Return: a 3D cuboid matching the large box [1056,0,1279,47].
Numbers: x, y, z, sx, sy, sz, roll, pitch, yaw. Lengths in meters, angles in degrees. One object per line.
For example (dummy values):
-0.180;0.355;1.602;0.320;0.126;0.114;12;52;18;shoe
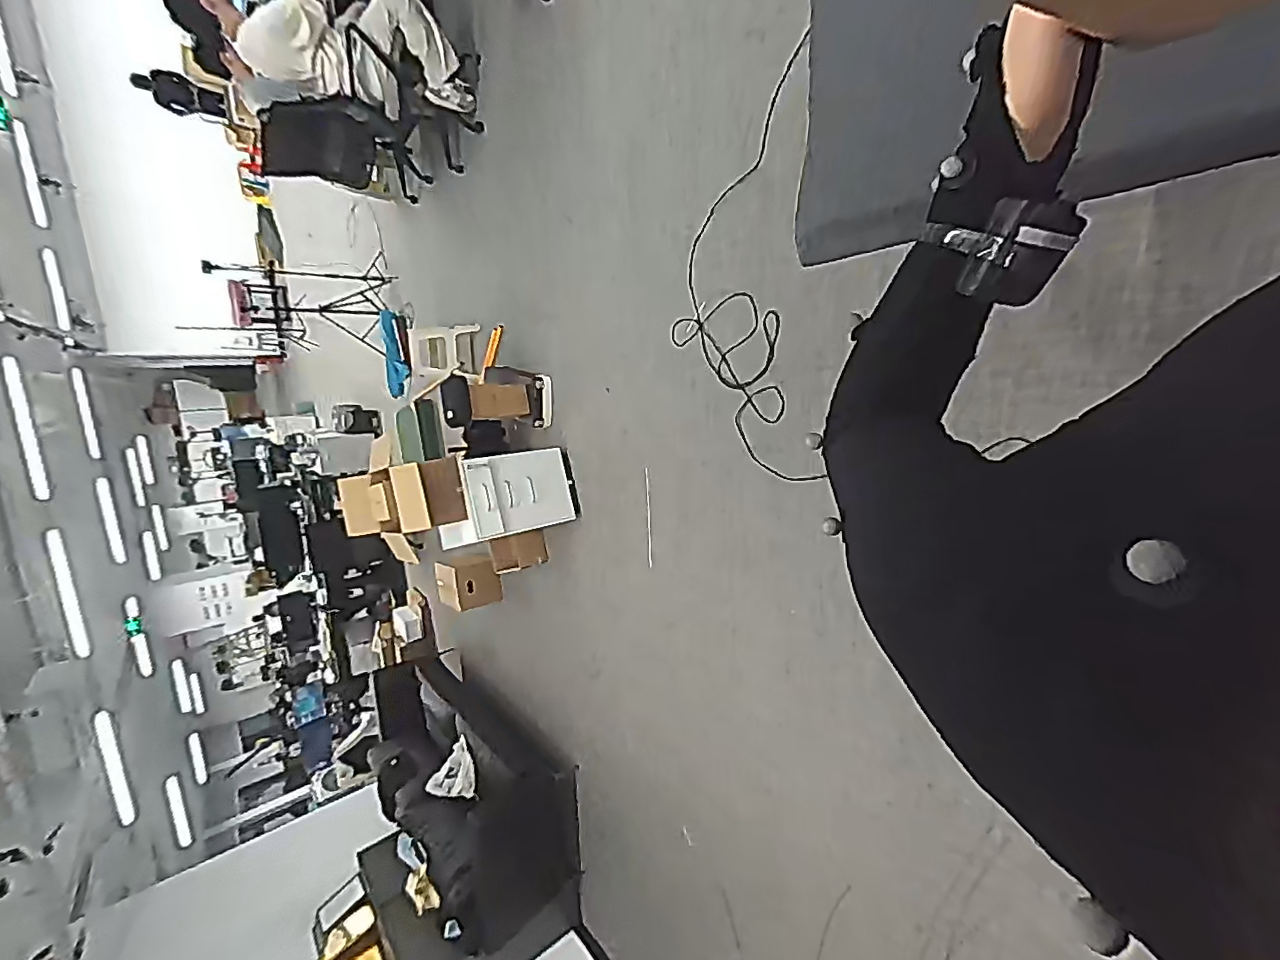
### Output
0.323;-0.349;0.082;0.408;0.320;0.320;13;121;48;large box
